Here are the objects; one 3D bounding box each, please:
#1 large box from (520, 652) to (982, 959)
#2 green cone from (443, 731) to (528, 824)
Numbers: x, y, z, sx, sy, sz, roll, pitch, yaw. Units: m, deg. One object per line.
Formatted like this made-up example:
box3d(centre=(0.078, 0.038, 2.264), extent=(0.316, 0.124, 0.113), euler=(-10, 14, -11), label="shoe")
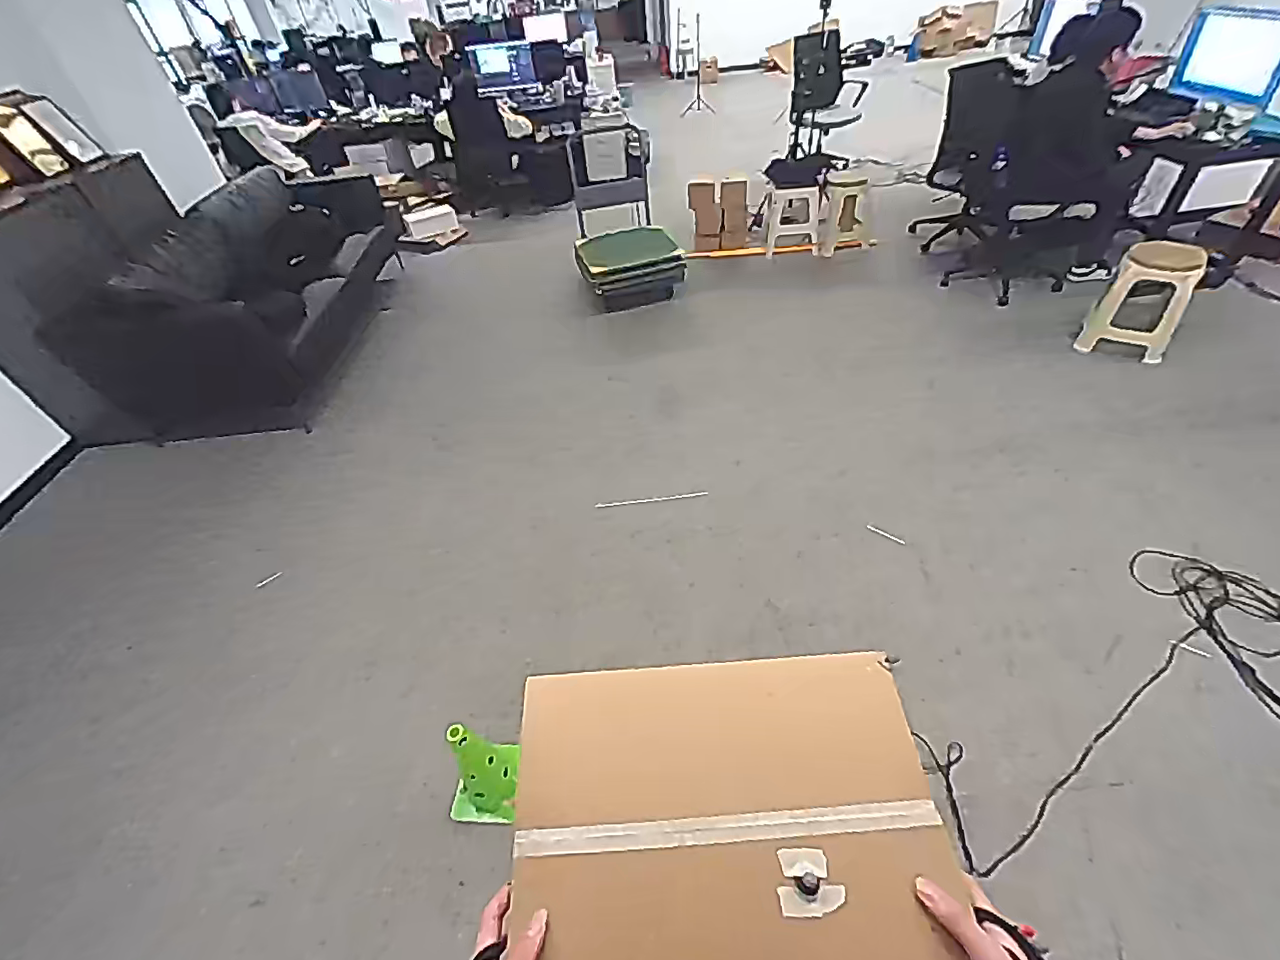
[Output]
box3d(centre=(0.090, 0.425, 0.643), extent=(0.408, 0.320, 0.320), euler=(-5, 53, 0), label="large box")
box3d(centre=(-0.430, 0.732, 1.400), extent=(0.200, 0.368, 0.202), euler=(-2, 45, 6), label="green cone")
